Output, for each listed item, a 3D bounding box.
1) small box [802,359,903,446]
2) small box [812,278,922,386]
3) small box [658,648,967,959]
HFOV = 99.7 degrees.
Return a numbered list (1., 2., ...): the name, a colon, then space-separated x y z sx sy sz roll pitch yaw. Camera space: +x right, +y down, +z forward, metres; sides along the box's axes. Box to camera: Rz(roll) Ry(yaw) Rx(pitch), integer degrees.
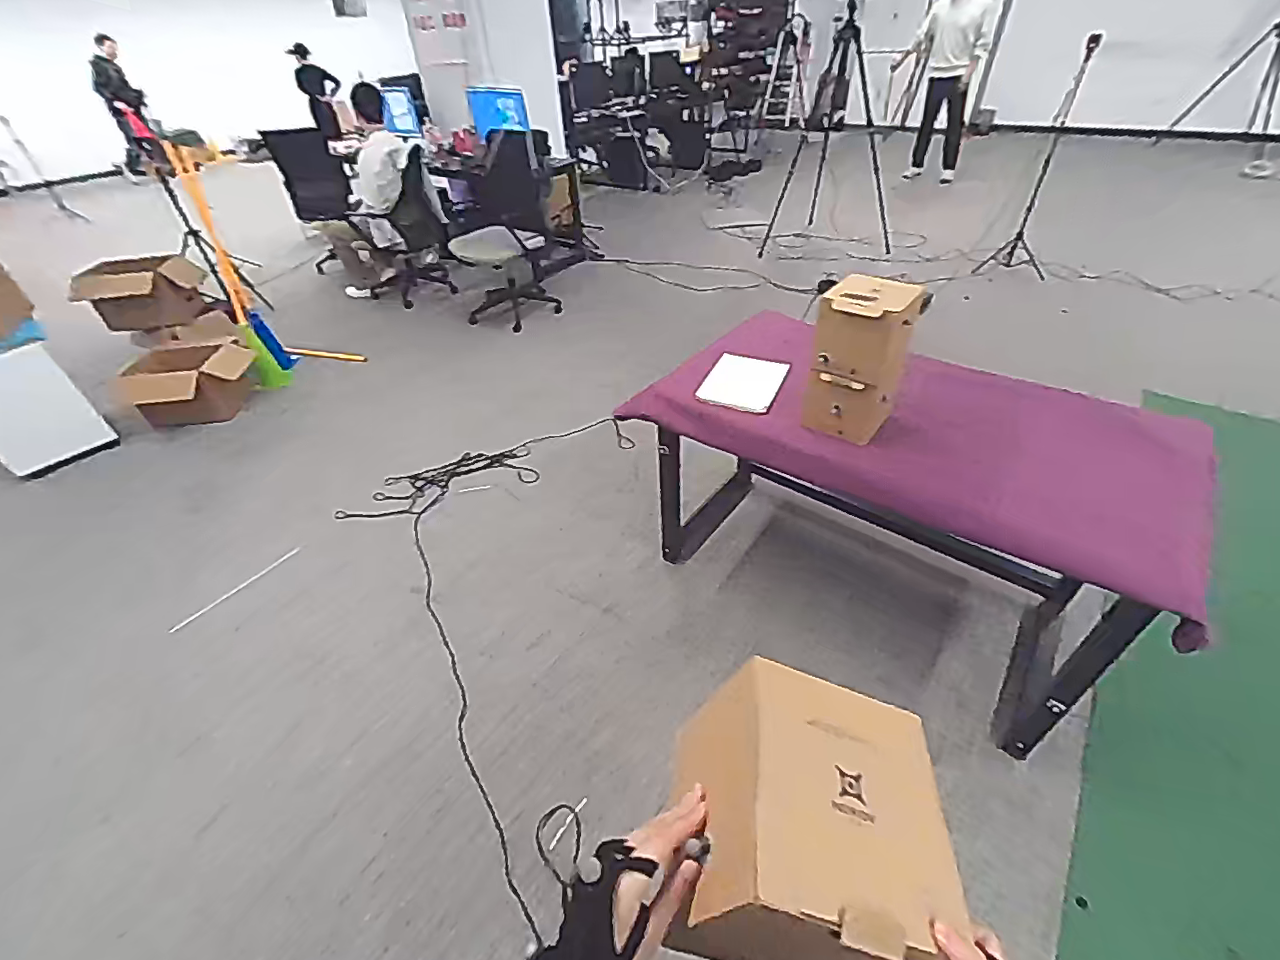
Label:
1. small box: 0.512 -0.209 1.324 0.168 0.176 0.179 26 49 30
2. small box: 0.501 -0.332 1.213 0.168 0.176 0.179 26 47 30
3. small box: 0.126 0.284 0.461 0.168 0.176 0.179 23 39 -6
